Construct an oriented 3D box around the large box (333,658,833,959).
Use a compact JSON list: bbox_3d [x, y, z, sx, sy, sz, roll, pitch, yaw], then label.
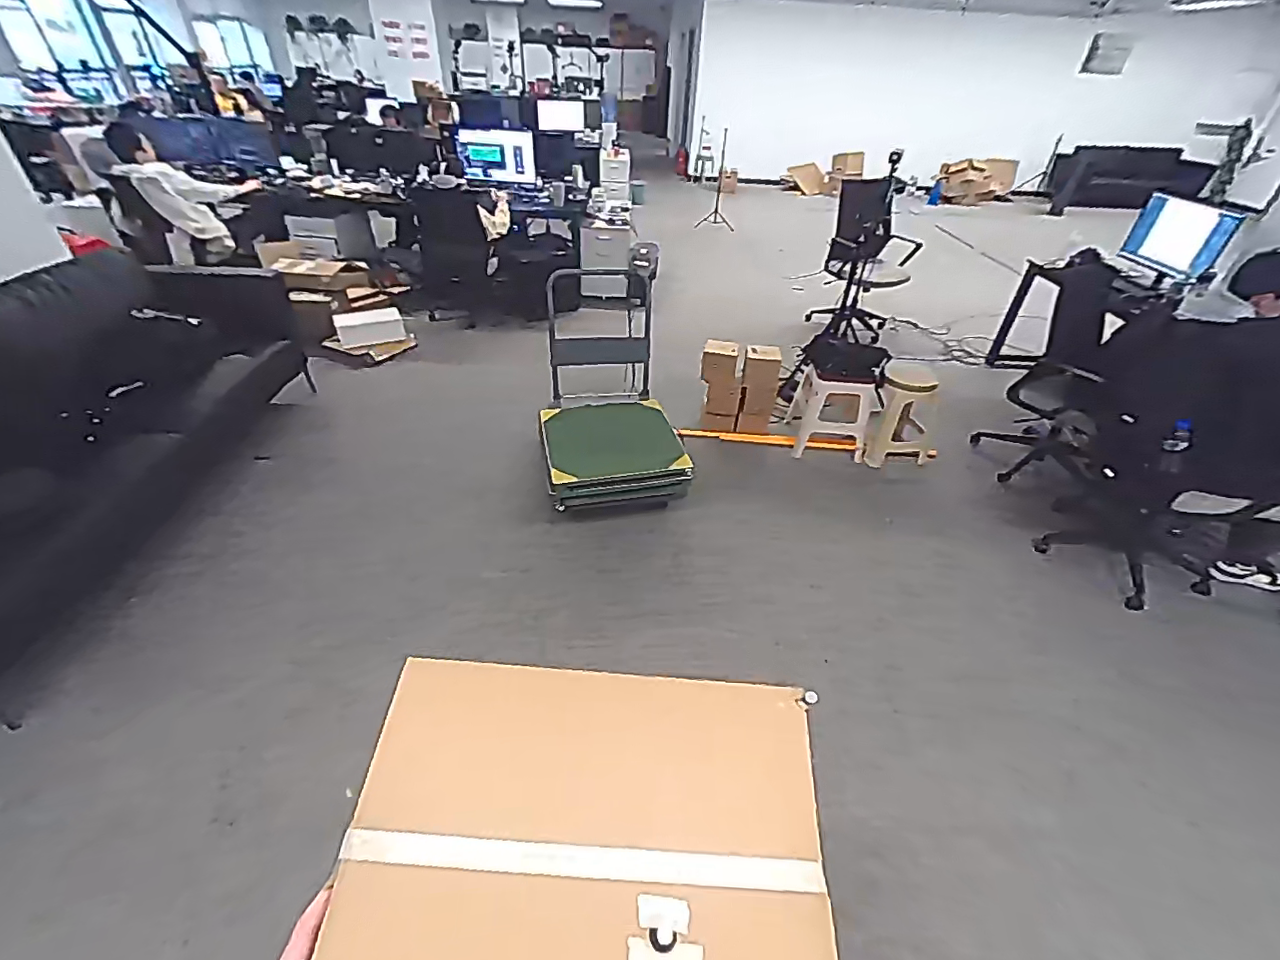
[{"bbox_3d":[-0.048,0.407,0.591,0.408,0.320,0.320,4,55,-1],"label":"large box"}]
